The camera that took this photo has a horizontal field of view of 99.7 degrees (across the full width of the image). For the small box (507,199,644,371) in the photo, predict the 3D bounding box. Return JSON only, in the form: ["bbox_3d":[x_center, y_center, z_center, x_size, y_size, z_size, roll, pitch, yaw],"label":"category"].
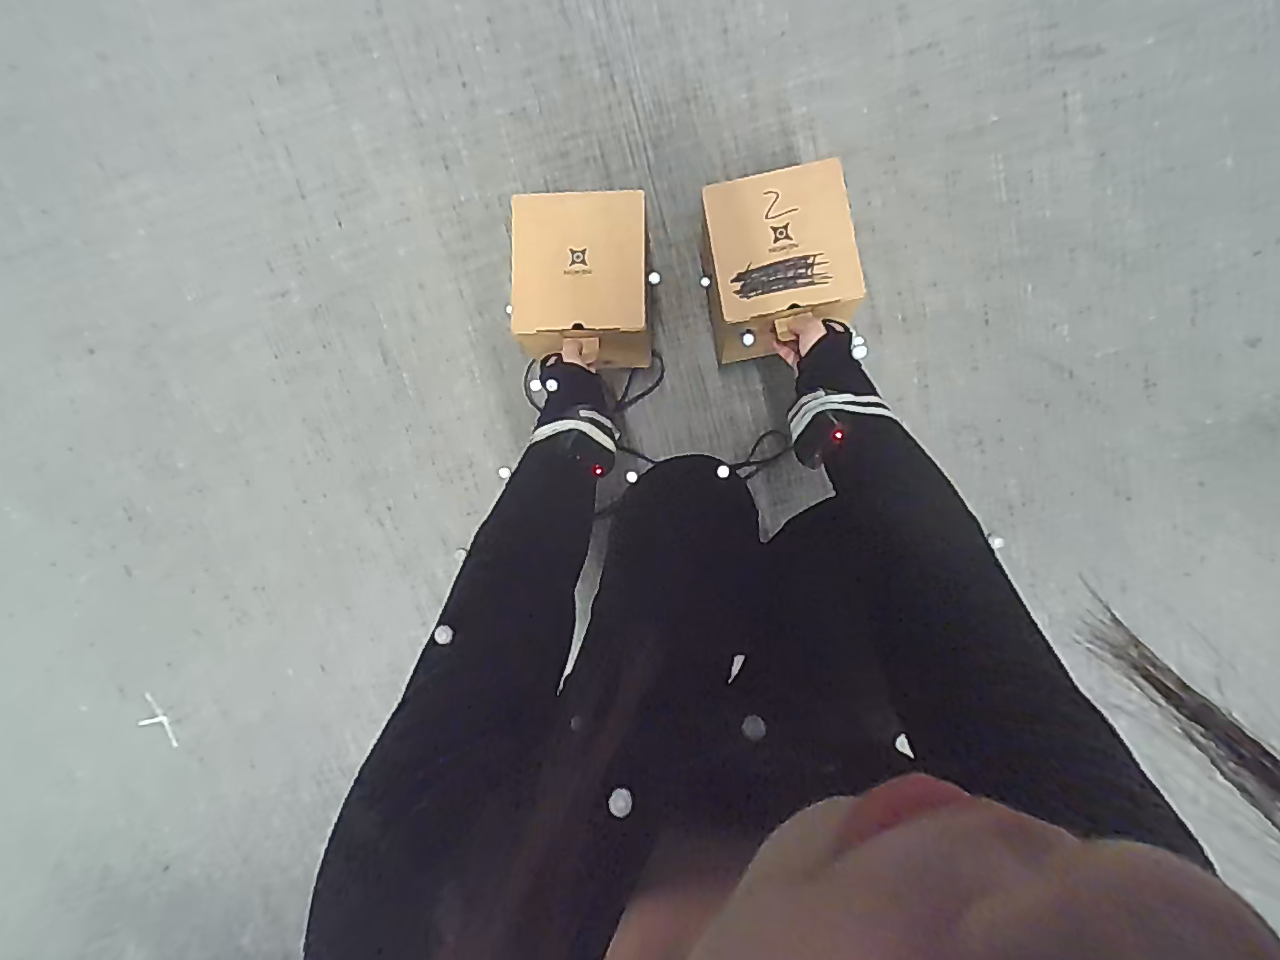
[{"bbox_3d":[-0.080,-0.260,0.750,0.168,0.176,0.179,0,87,2],"label":"small box"}]
